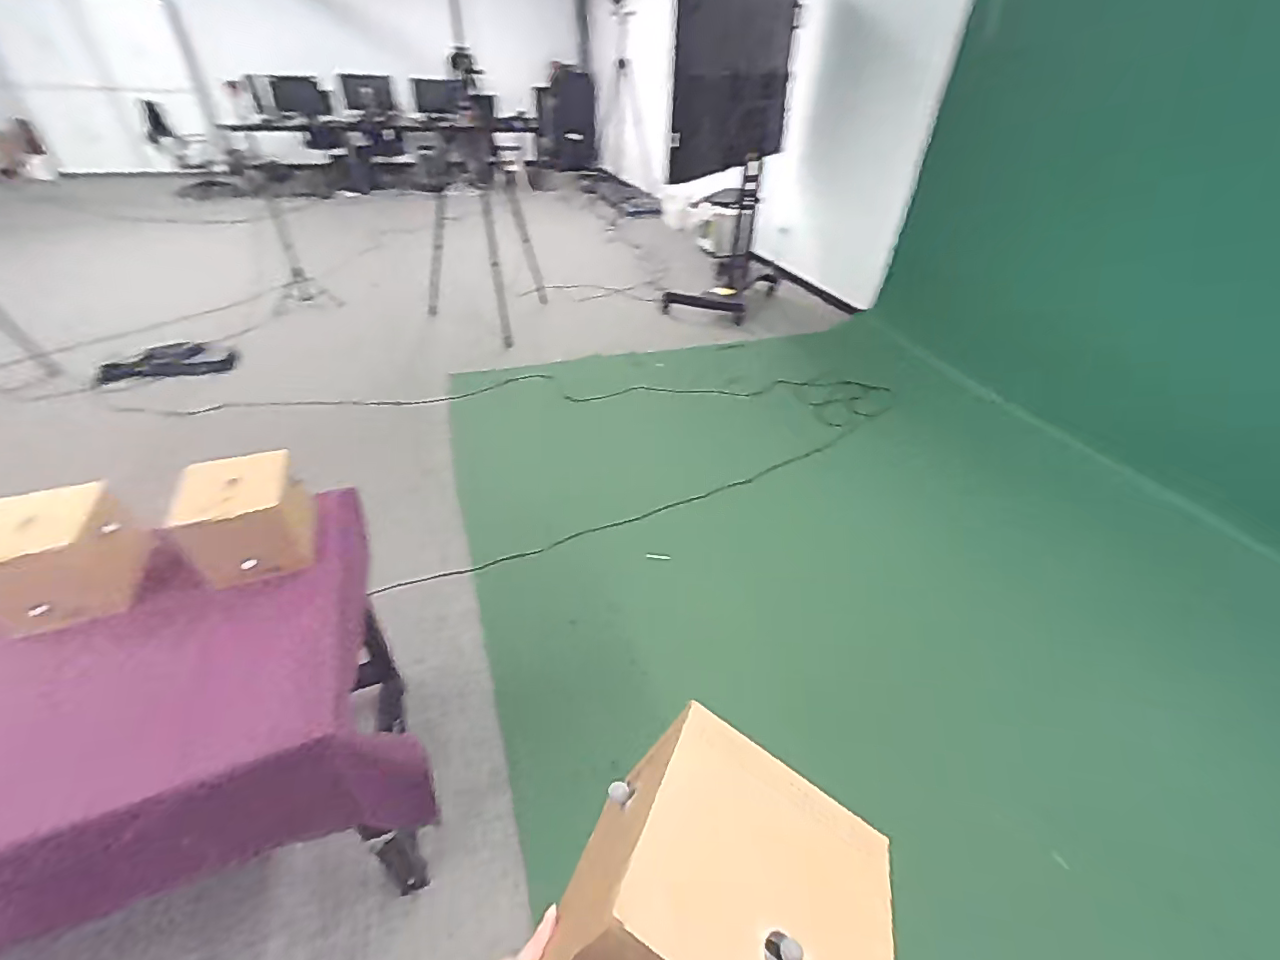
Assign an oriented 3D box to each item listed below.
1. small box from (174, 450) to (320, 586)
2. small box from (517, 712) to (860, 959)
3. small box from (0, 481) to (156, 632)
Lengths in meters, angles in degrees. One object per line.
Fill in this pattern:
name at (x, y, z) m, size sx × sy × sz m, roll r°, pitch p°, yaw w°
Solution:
small box at (-0.730, 0.071, 1.030) m, size 0.168 × 0.176 × 0.179 m, roll -12°, pitch 43°, yaw -16°
small box at (0.037, 0.307, 0.382) m, size 0.179 × 0.168 × 0.176 m, roll 33°, pitch 28°, yaw 7°
small box at (-1.000, 0.131, 0.948) m, size 0.168 × 0.176 × 0.179 m, roll -13°, pitch 42°, yaw -19°
